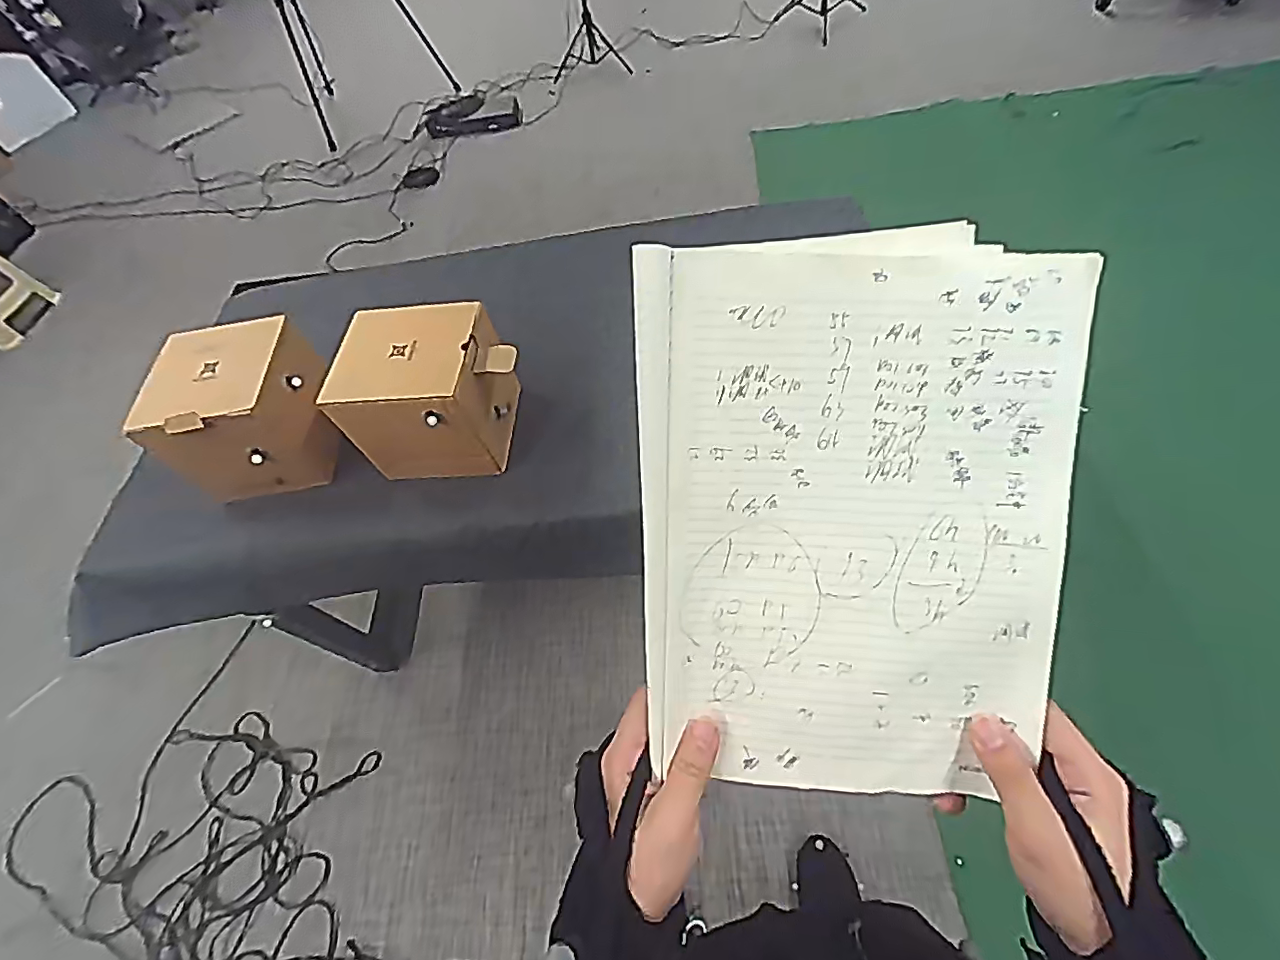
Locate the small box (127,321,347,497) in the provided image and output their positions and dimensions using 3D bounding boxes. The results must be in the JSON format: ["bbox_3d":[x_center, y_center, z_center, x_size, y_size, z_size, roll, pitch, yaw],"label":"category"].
[{"bbox_3d":[-0.540,-0.090,0.761,0.168,0.176,0.179,-9,55,1],"label":"small box"}]

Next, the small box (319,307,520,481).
[{"bbox_3d":[-0.282,-0.110,0.737,0.179,0.176,0.168,-2,56,6],"label":"small box"}]
